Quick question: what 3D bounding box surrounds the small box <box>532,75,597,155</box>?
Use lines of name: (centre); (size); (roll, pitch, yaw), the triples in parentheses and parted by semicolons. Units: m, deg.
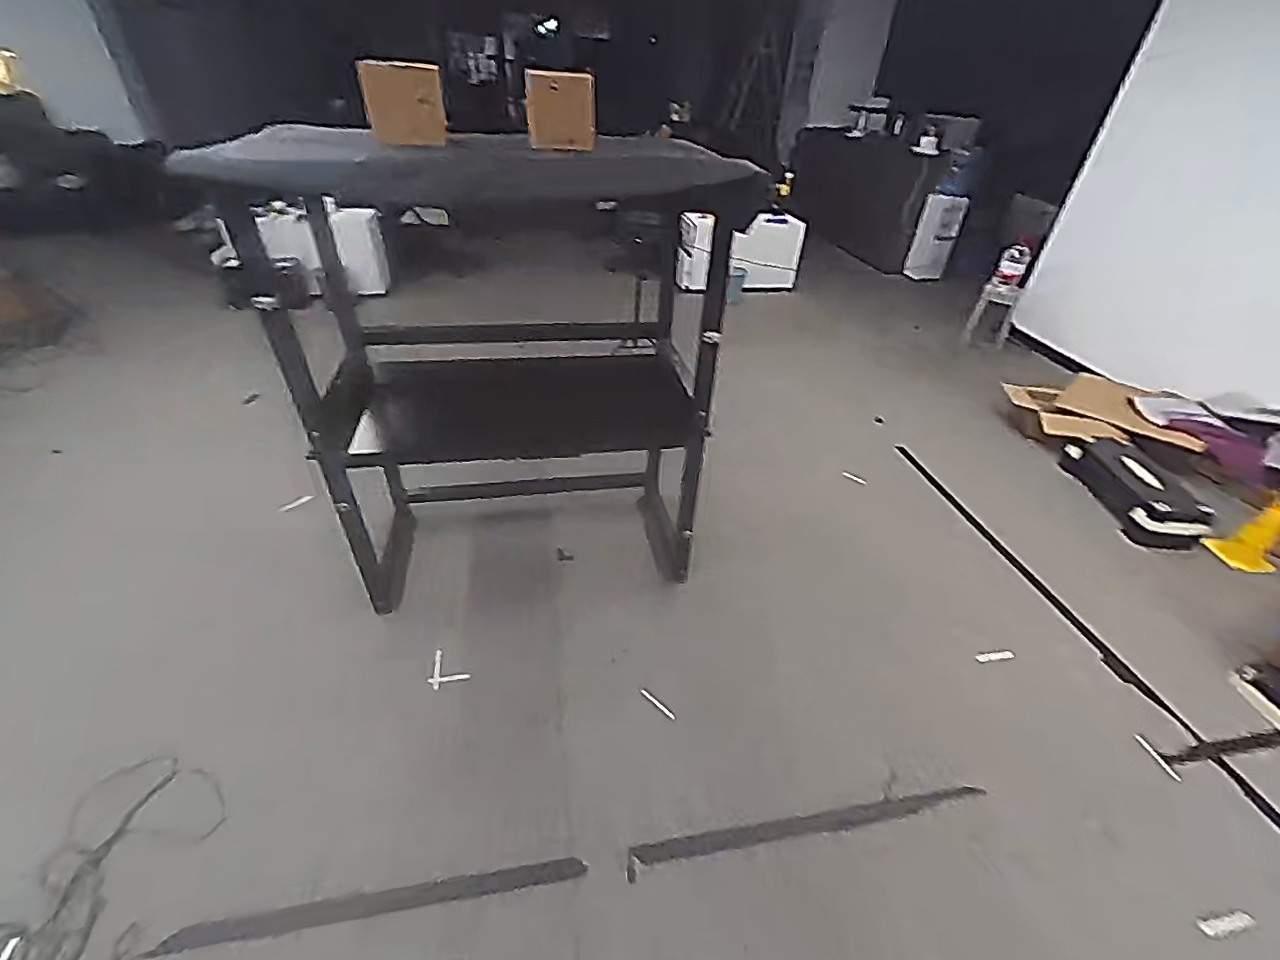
small box: (-0.212, -1.017, 1.506); (0.168, 0.176, 0.179); (-5, 38, -10)
